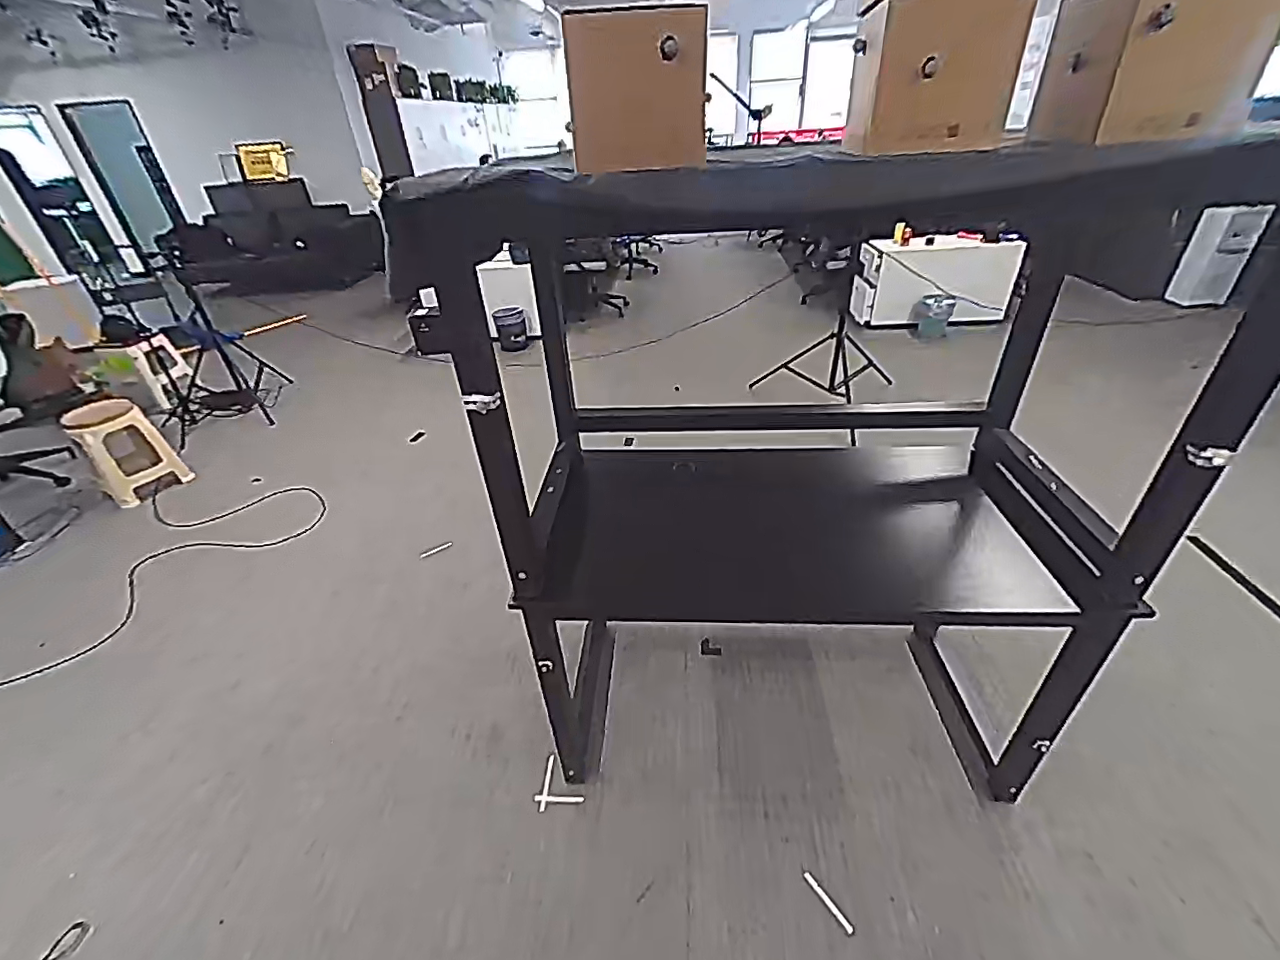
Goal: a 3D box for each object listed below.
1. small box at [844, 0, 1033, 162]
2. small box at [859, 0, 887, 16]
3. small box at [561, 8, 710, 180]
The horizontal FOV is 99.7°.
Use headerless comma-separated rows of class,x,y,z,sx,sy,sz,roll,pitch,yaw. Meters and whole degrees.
small box,0.381,-0.528,0.722,0.168,0.176,0.179,1,32,8
small box,0.369,-0.662,0.626,0.179,0.176,0.168,0,32,9
small box,-0.002,-0.514,0.736,0.179,0.176,0.168,-3,32,2
